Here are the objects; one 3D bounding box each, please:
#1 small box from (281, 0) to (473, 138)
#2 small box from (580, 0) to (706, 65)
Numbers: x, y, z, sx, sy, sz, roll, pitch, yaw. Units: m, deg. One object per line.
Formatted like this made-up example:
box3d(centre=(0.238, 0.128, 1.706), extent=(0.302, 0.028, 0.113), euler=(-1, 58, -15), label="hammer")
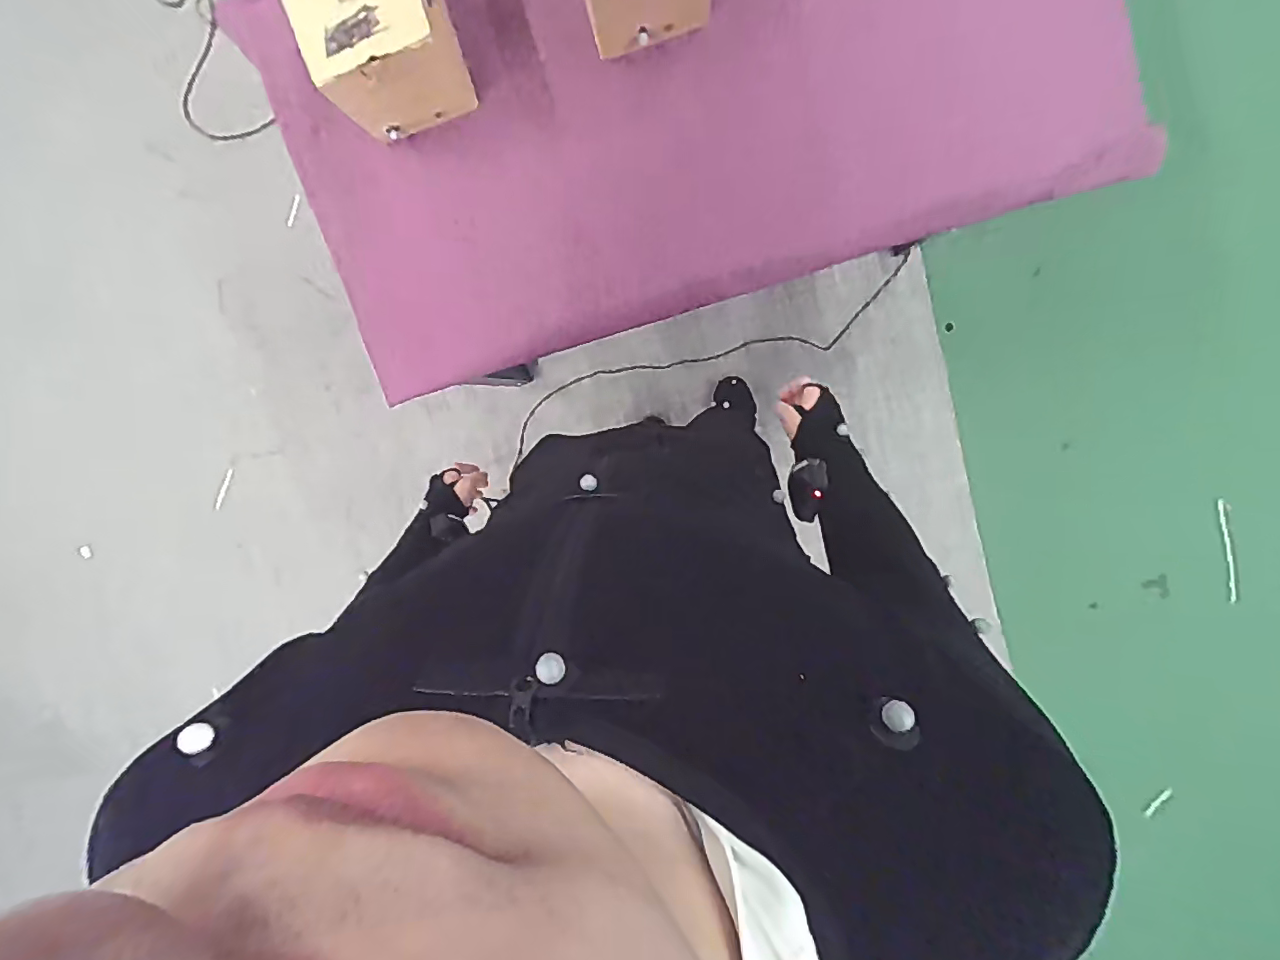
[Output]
box3d(centre=(-0.354, -0.607, 0.740), extent=(0.168, 0.176, 0.179), euler=(-17, 97, 5), label="small box")
box3d(centre=(-0.011, -0.705, 0.708), extent=(0.168, 0.176, 0.179), euler=(-16, 98, 6), label="small box")
